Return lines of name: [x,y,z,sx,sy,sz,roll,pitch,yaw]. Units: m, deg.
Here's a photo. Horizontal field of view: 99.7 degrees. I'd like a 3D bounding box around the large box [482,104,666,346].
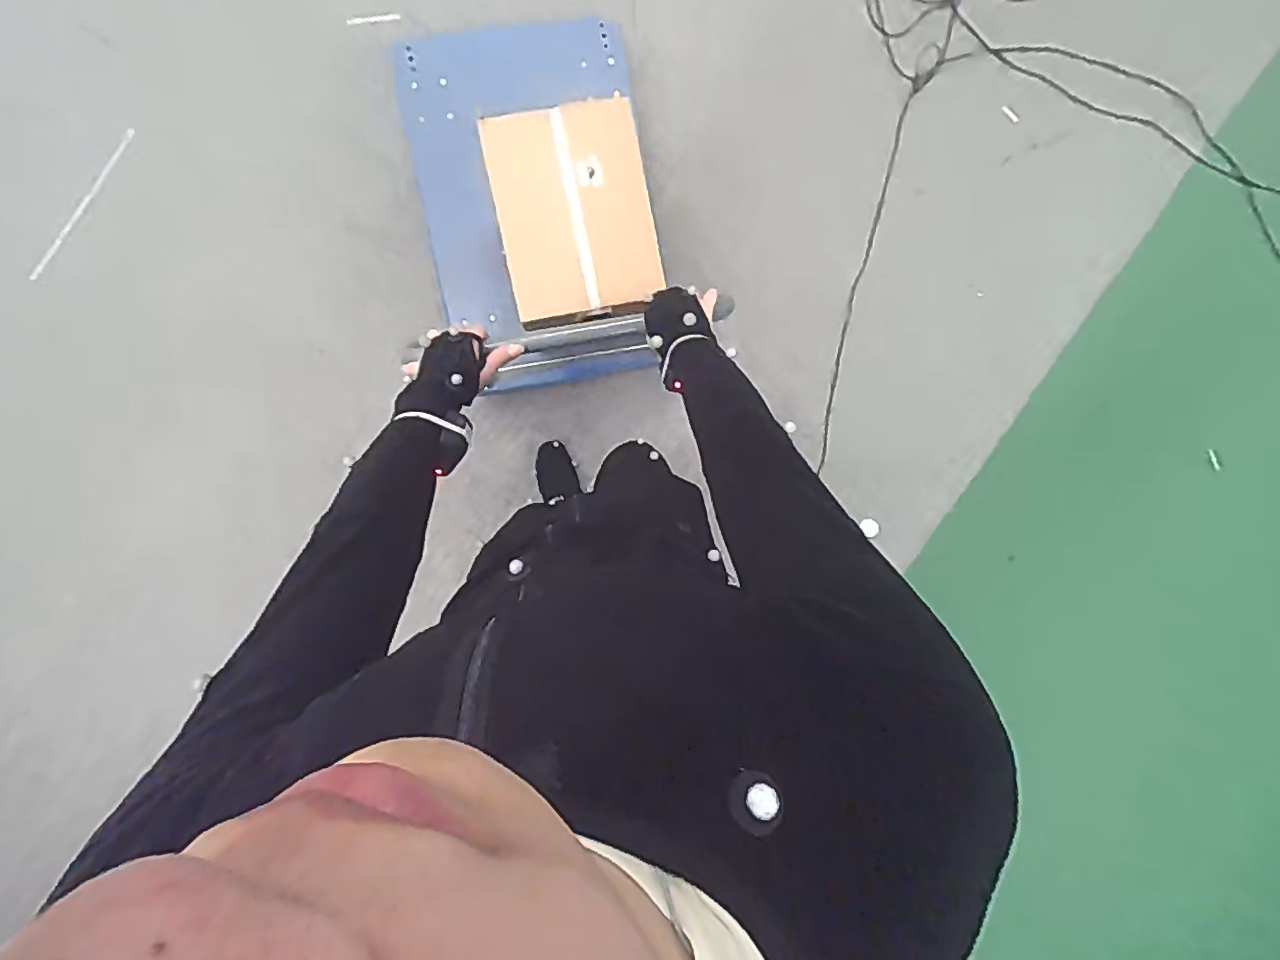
large box: [-0.145,-0.565,1.270,0.320,0.320,0.408,-12,95,-6]
